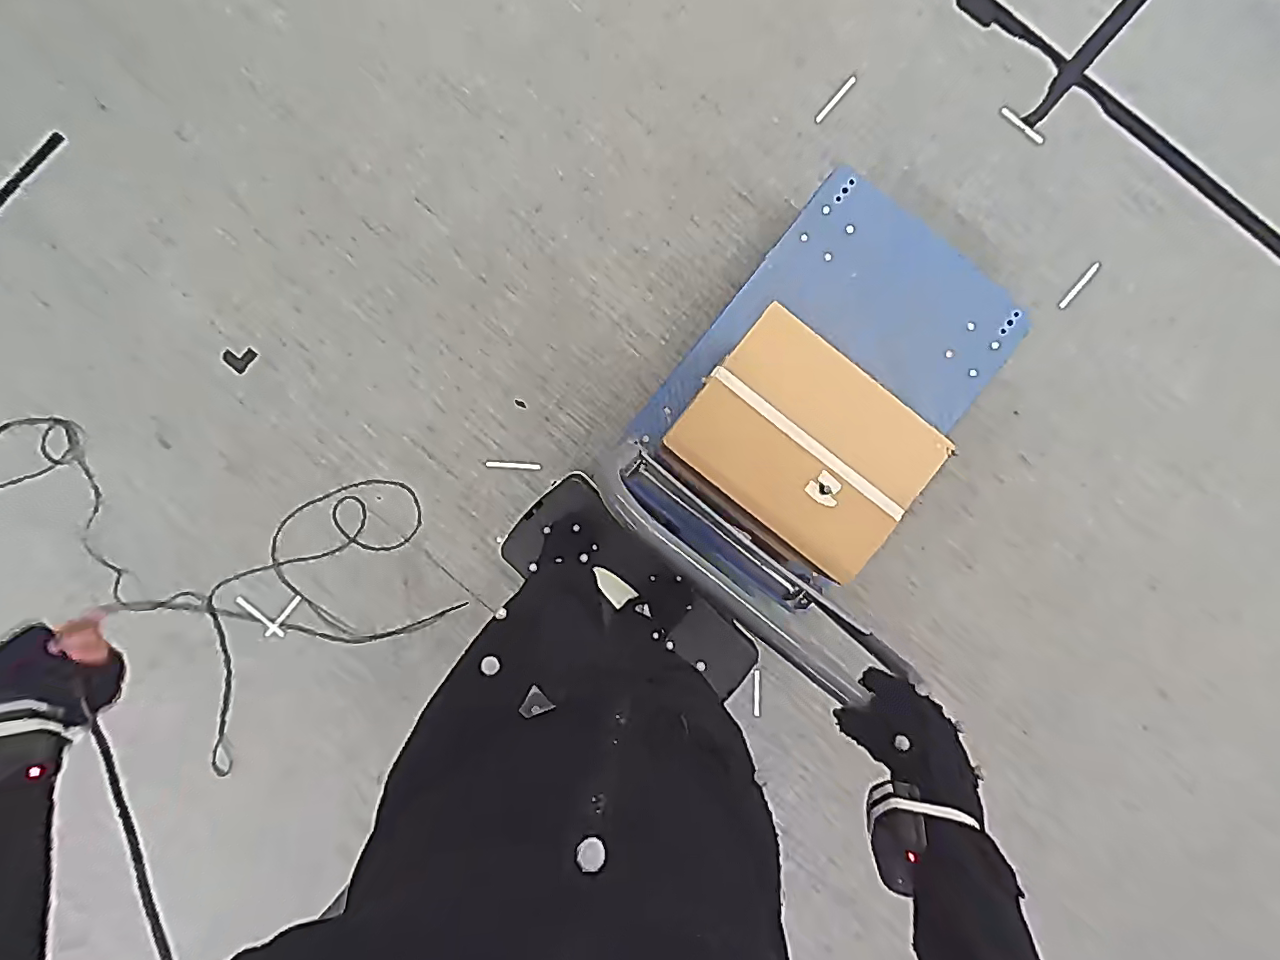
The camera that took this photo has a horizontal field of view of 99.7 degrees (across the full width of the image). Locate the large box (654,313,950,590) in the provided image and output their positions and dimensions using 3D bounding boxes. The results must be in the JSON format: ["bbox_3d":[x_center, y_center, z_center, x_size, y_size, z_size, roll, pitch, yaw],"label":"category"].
[{"bbox_3d":[0.280,-0.049,1.067,0.408,0.320,0.320,38,90,-2],"label":"large box"}]
